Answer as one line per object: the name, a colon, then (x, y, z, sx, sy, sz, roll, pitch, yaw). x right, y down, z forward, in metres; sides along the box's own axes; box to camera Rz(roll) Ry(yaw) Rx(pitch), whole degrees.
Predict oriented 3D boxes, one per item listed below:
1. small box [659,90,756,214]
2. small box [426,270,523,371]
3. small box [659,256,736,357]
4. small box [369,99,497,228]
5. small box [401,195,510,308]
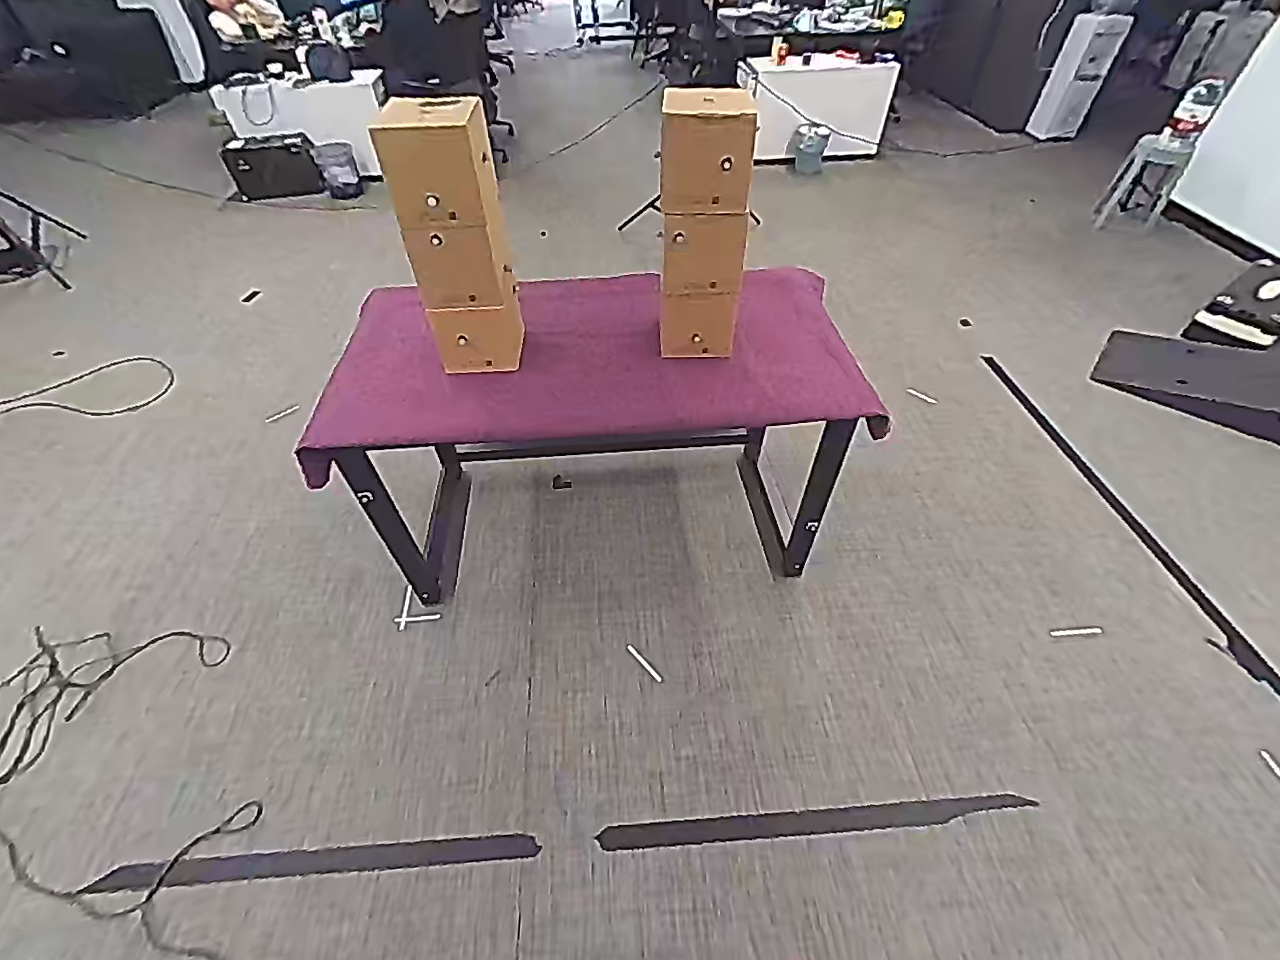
small box: (0.122, -0.625, 1.033, 0.168, 0.176, 0.179, 2, 47, 2)
small box: (-0.371, -0.364, 1.248, 0.168, 0.176, 0.179, -3, 47, -2)
small box: (0.130, -0.410, 1.279, 0.168, 0.176, 0.179, 0, 48, 2)
small box: (-0.371, -0.589, 1.008, 0.168, 0.176, 0.179, -3, 48, -2)
small box: (-0.373, -0.479, 1.131, 0.168, 0.176, 0.179, -4, 47, -2)
